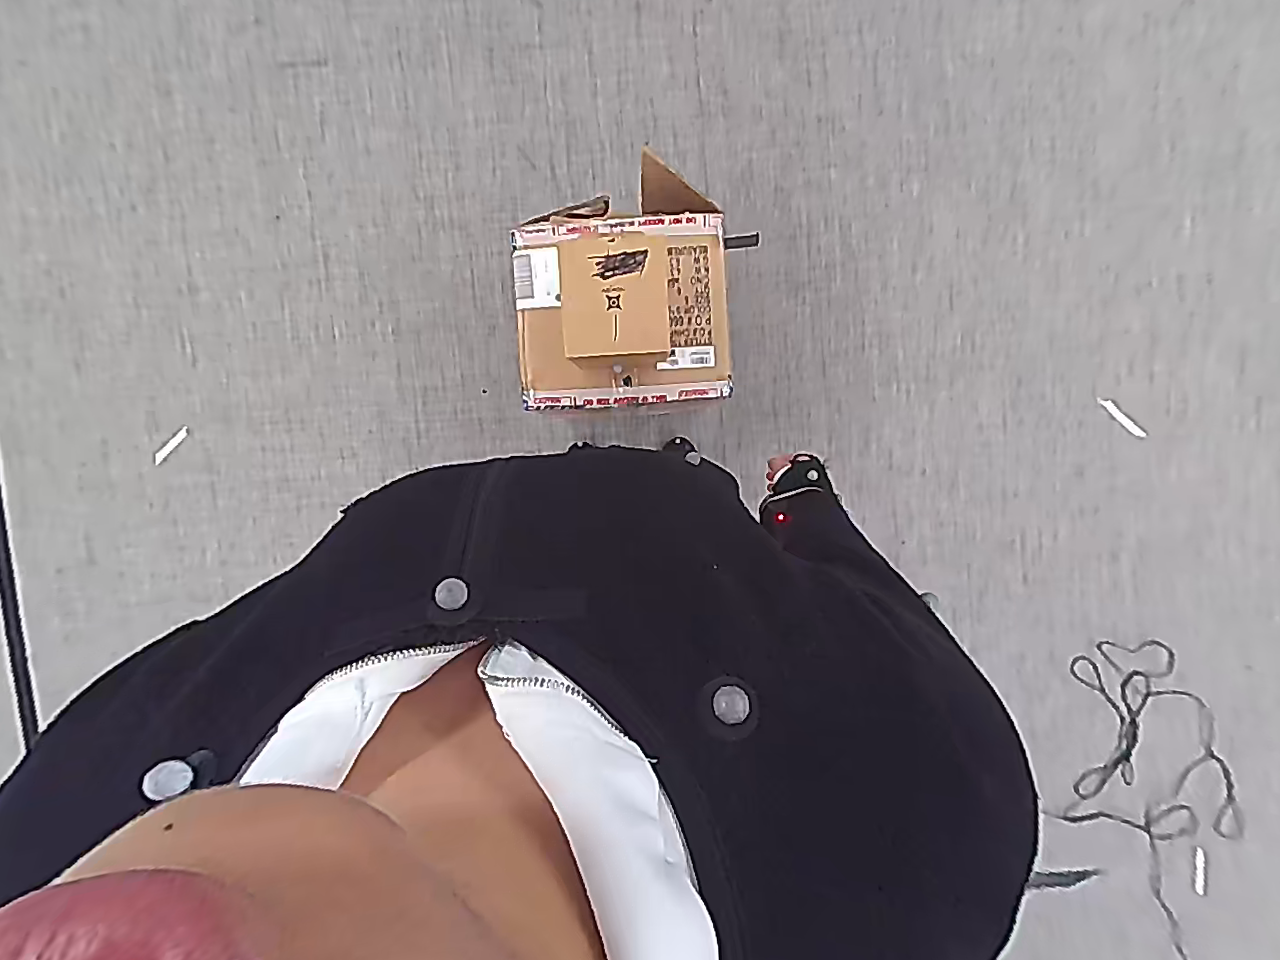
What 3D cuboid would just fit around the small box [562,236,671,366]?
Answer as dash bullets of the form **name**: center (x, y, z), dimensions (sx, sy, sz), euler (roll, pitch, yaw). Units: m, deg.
- **small box**: center (-0.036, -0.290, 0.903), dimensions (0.168, 0.176, 0.179), euler (-2, 98, 1)
